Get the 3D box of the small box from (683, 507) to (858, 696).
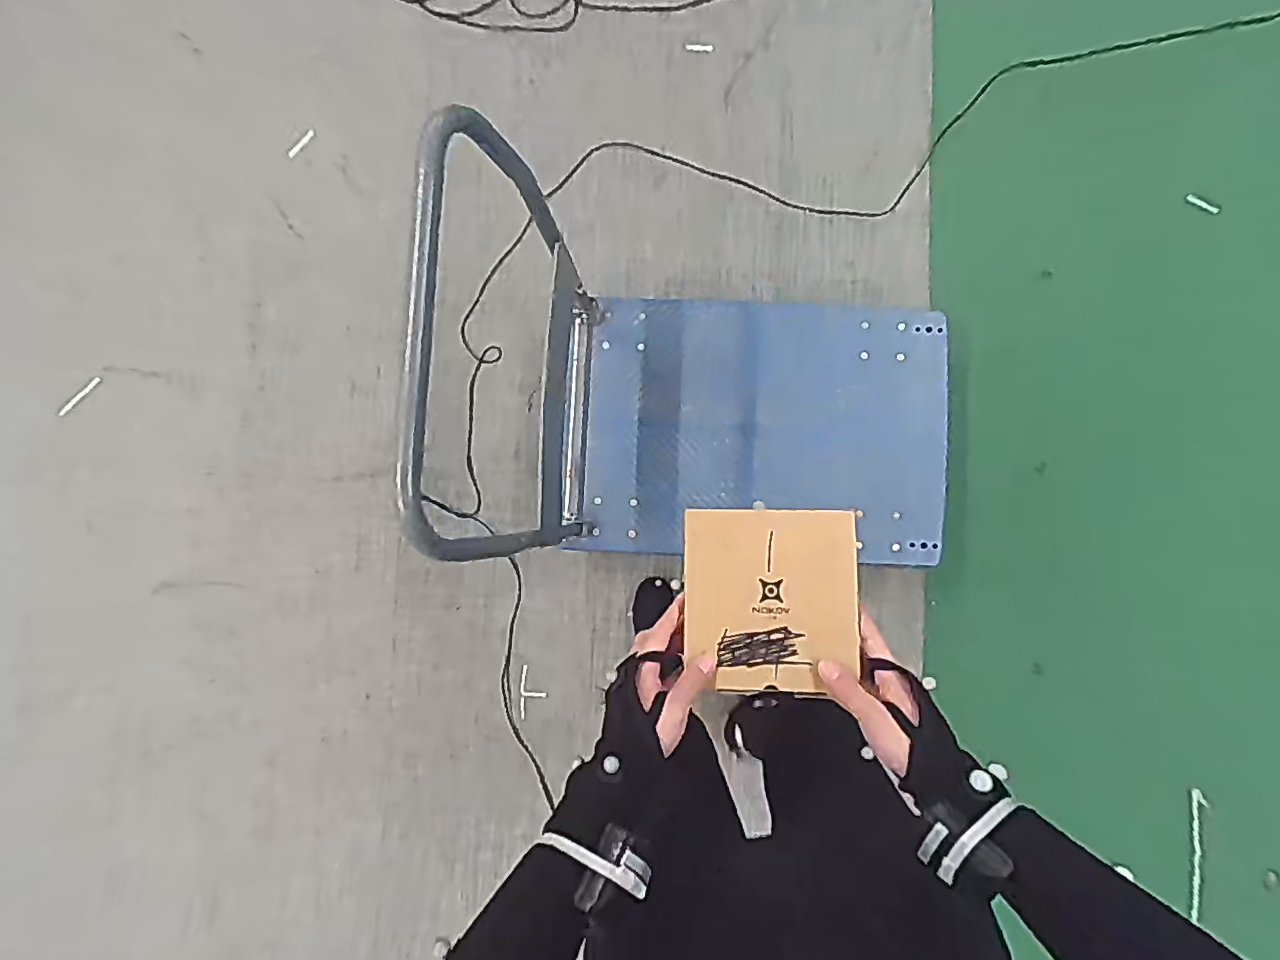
[{"bbox_3d":[0.132,0.124,0.598,0.168,0.176,0.179,0,82,5],"label":"small box"}]
